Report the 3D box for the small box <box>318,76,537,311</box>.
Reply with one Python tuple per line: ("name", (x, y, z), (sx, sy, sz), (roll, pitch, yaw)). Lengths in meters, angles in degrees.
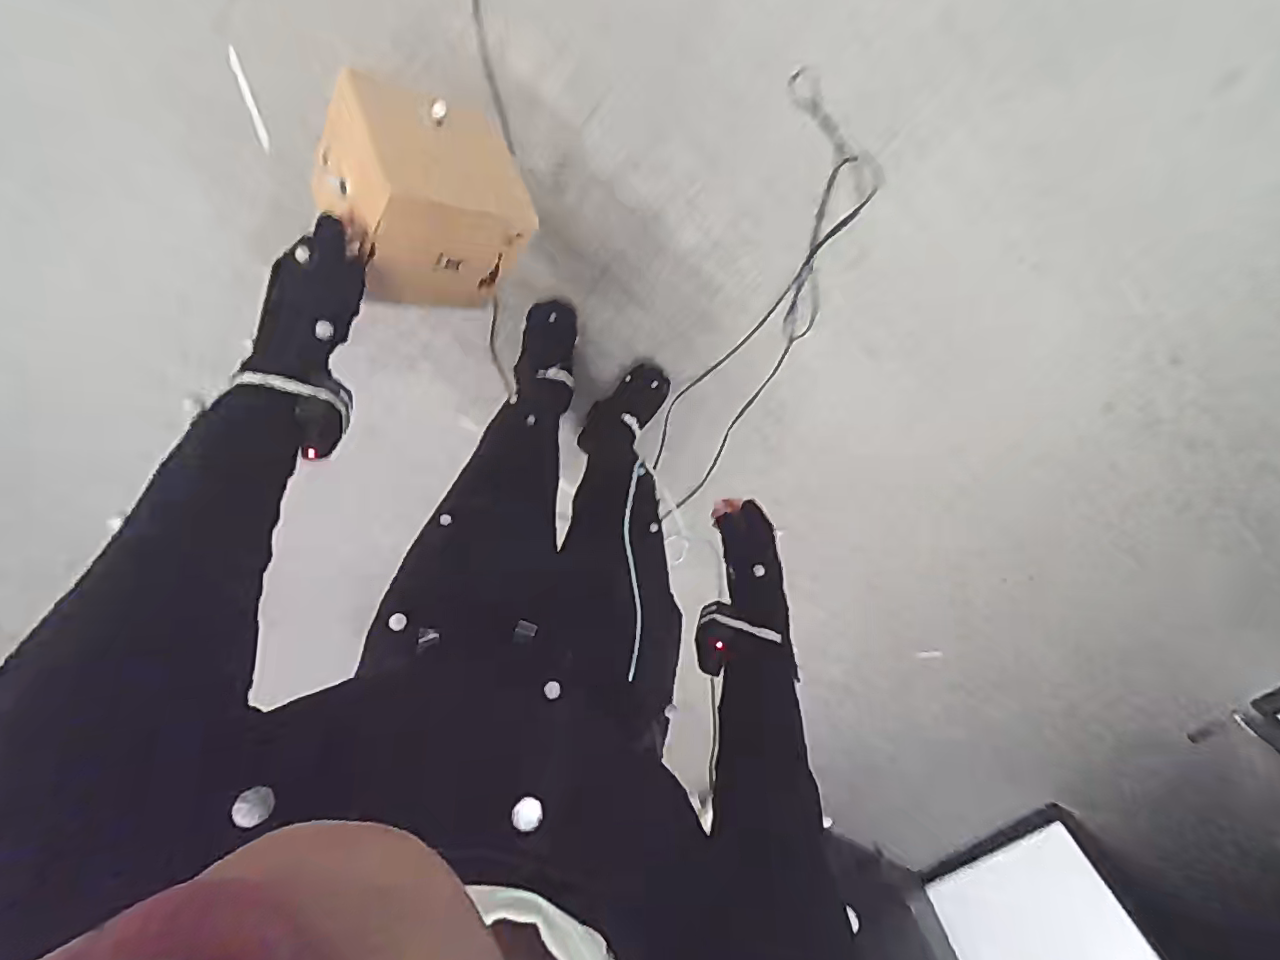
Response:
("small box", (-0.258, -0.325, 0.640), (0.179, 0.176, 0.168), (-12, 165, -43))
